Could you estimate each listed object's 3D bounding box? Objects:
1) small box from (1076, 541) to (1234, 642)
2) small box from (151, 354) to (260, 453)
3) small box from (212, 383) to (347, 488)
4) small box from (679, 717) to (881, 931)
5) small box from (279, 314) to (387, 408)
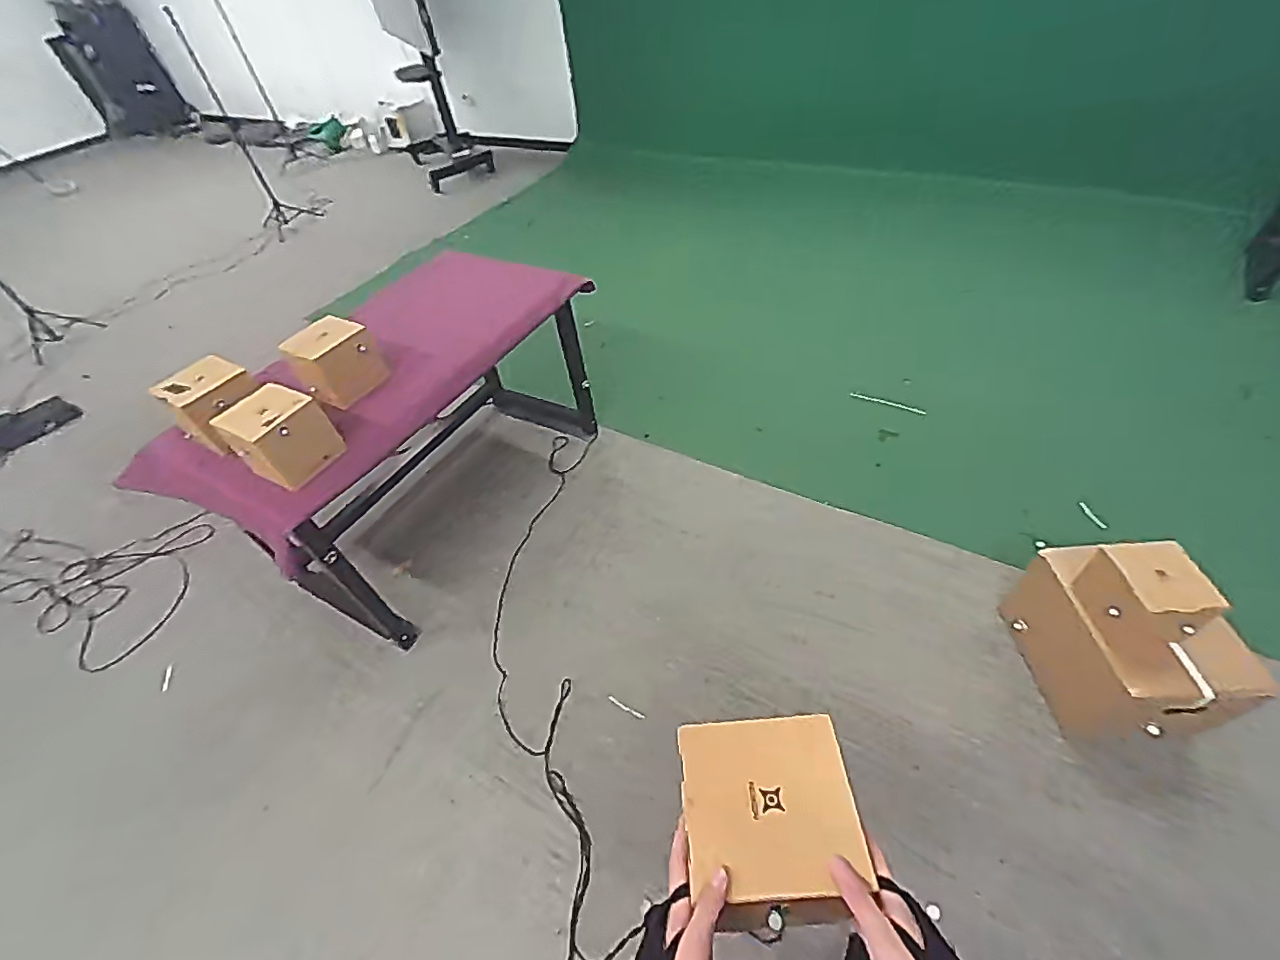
[{"bbox_3d":[1.168,0.263,1.246,0.168,0.176,0.179,-5,47,5],"label":"small box"},{"bbox_3d":[-1.106,-0.198,1.422,0.168,0.176,0.179,21,53,24],"label":"small box"},{"bbox_3d":[-0.858,-0.106,1.302,0.179,0.176,0.168,18,53,24],"label":"small box"},{"bbox_3d":[0.142,0.387,0.608,0.179,0.176,0.168,-7,43,4],"label":"small box"},{"bbox_3d":[-0.840,-0.331,1.505,0.168,0.176,0.179,21,54,25],"label":"small box"}]
